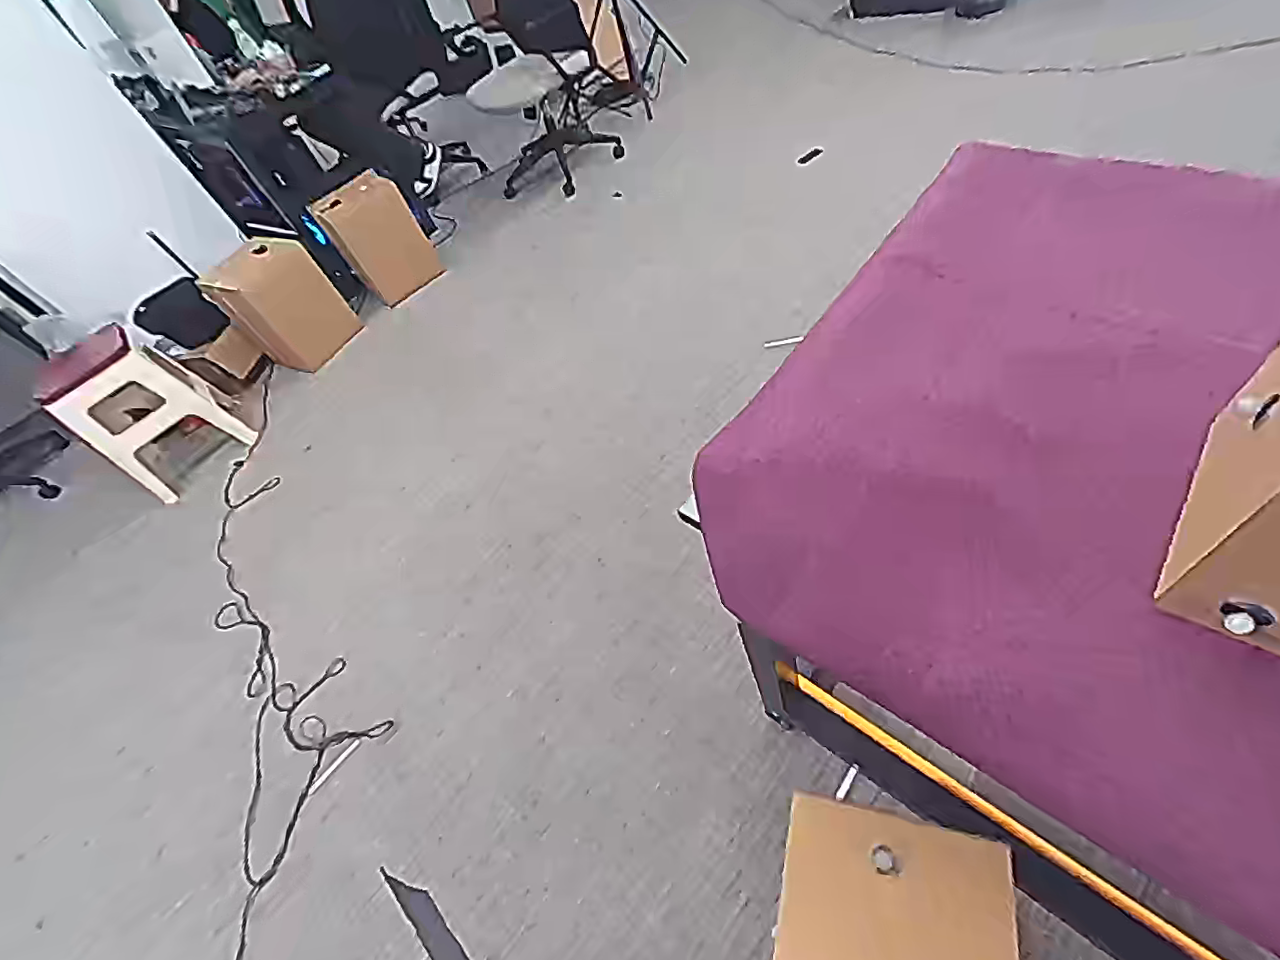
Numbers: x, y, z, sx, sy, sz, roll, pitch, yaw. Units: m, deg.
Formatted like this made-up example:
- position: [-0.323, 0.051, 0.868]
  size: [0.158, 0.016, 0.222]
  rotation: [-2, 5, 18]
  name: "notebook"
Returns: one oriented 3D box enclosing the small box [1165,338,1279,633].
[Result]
- position: [0.430, -0.002, 0.282]
  size: [0.168, 0.176, 0.179]
  rotation: [26, 64, 32]
  name: "small box"
